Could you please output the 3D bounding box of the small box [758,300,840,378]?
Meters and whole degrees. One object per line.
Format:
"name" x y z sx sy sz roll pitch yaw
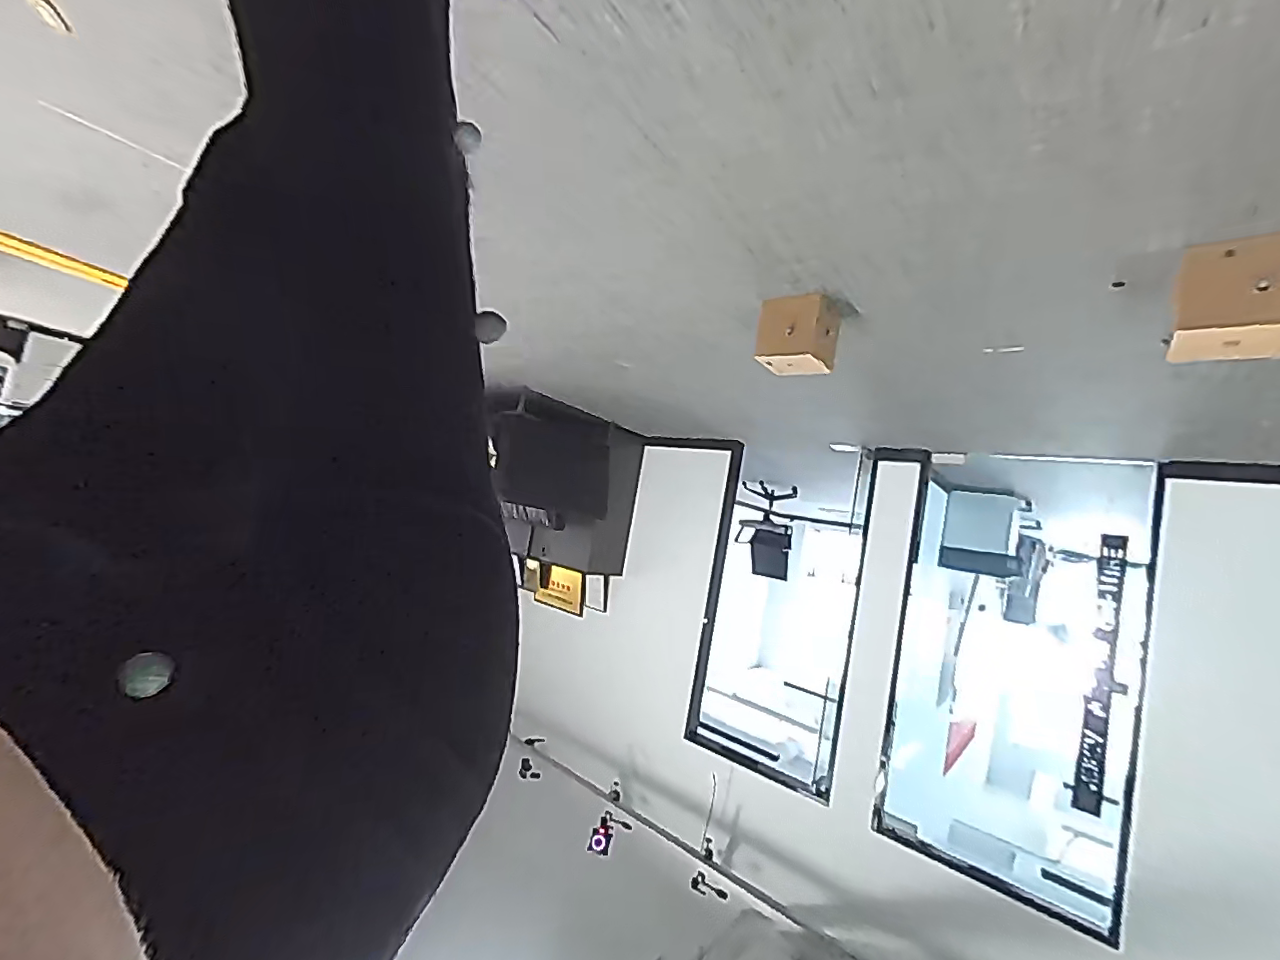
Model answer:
"small box" 0.458 -0.400 1.542 0.179 0.176 0.168 5 173 39

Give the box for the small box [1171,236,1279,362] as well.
"small box" 1.116 -0.335 1.006 0.168 0.176 0.179 5 174 41
